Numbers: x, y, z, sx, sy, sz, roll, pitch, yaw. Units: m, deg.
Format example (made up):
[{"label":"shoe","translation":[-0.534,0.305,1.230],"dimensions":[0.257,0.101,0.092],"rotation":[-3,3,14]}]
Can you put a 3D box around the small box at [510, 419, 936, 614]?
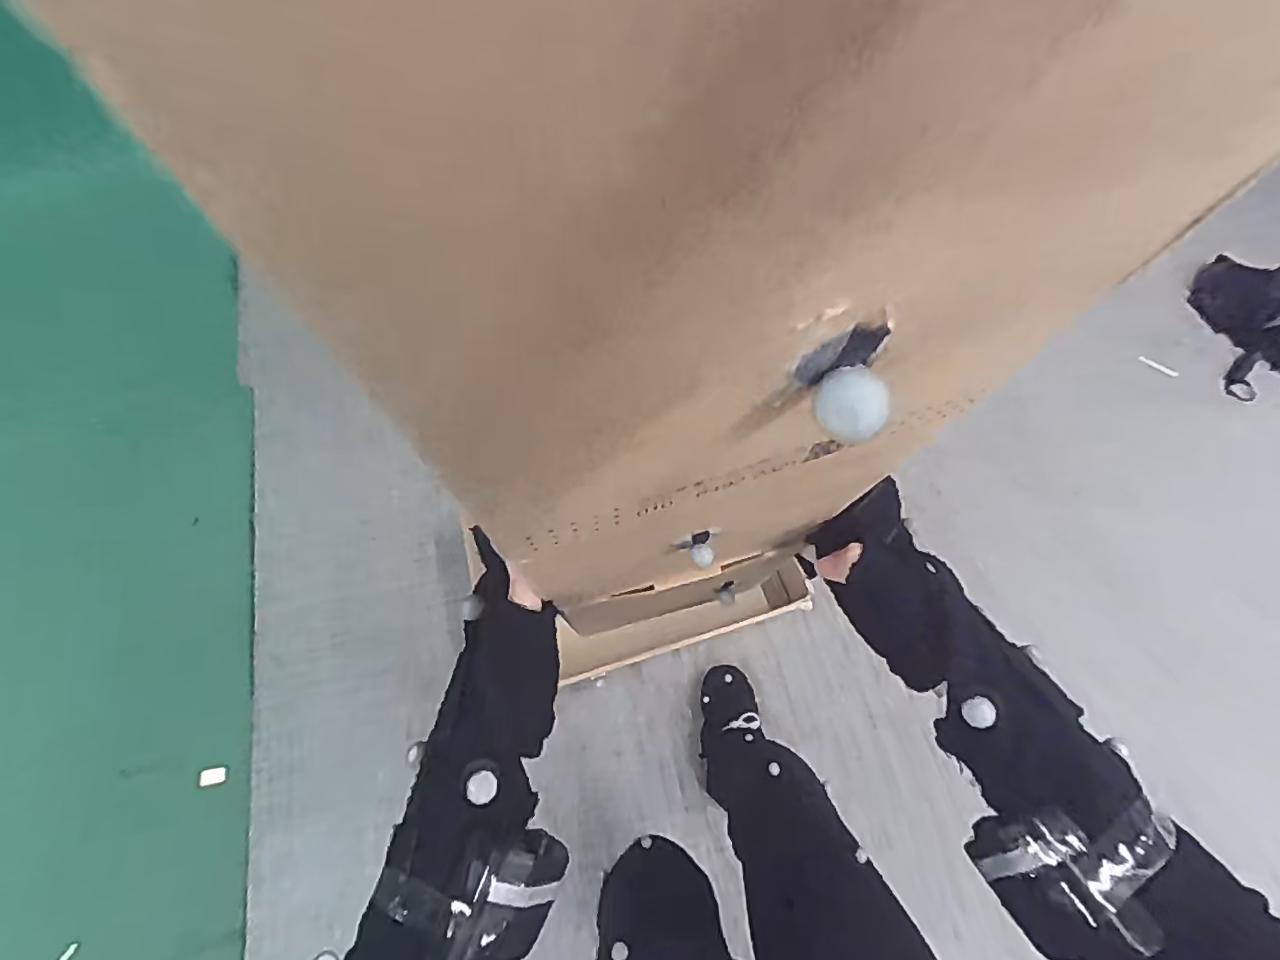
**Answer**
[{"label":"small box","translation":[0.009,-0.037,0.302],"dimensions":[0.179,0.176,0.168],"rotation":[-18,71,-10]}]
